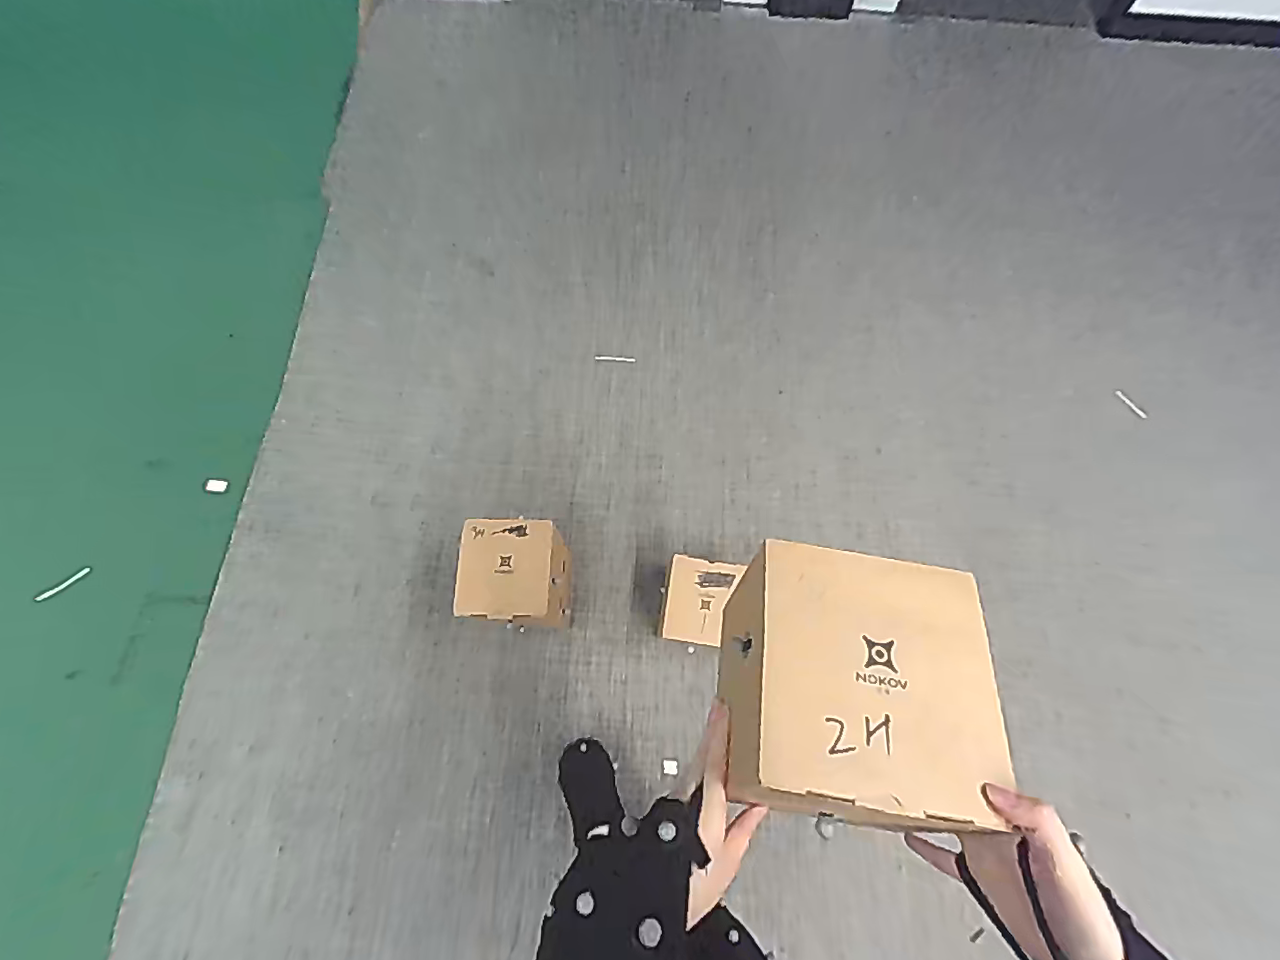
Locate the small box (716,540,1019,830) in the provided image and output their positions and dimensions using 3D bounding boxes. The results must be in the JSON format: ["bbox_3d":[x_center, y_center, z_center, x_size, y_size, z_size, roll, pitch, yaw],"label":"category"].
[{"bbox_3d":[0.162,0.175,0.450,0.168,0.176,0.179,9,58,1],"label":"small box"}]

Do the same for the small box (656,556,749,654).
[{"bbox_3d":[0.132,0.280,1.188,0.168,0.176,0.179,10,72,1],"label":"small box"}]

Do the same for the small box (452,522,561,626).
[{"bbox_3d":[-0.244,0.185,1.031,0.168,0.176,0.179,1,72,-2],"label":"small box"}]
